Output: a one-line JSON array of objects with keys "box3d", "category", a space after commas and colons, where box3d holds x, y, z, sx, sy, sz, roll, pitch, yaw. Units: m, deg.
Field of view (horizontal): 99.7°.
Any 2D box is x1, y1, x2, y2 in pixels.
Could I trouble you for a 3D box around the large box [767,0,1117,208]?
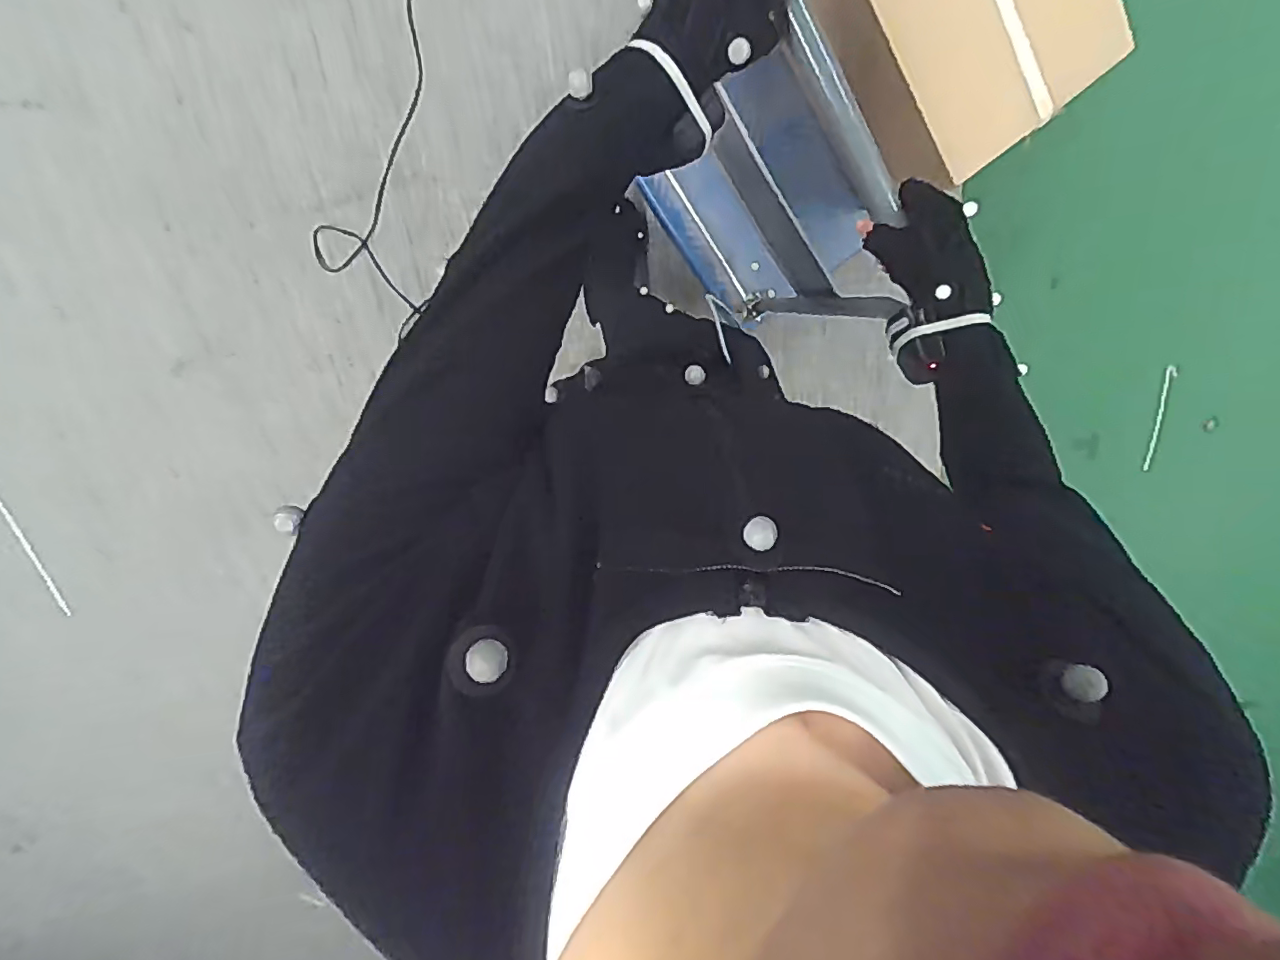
[{"box3d": [0.487, -0.759, 0.934, 0.320, 0.320, 0.408, -37, 109, 8], "category": "large box"}]
